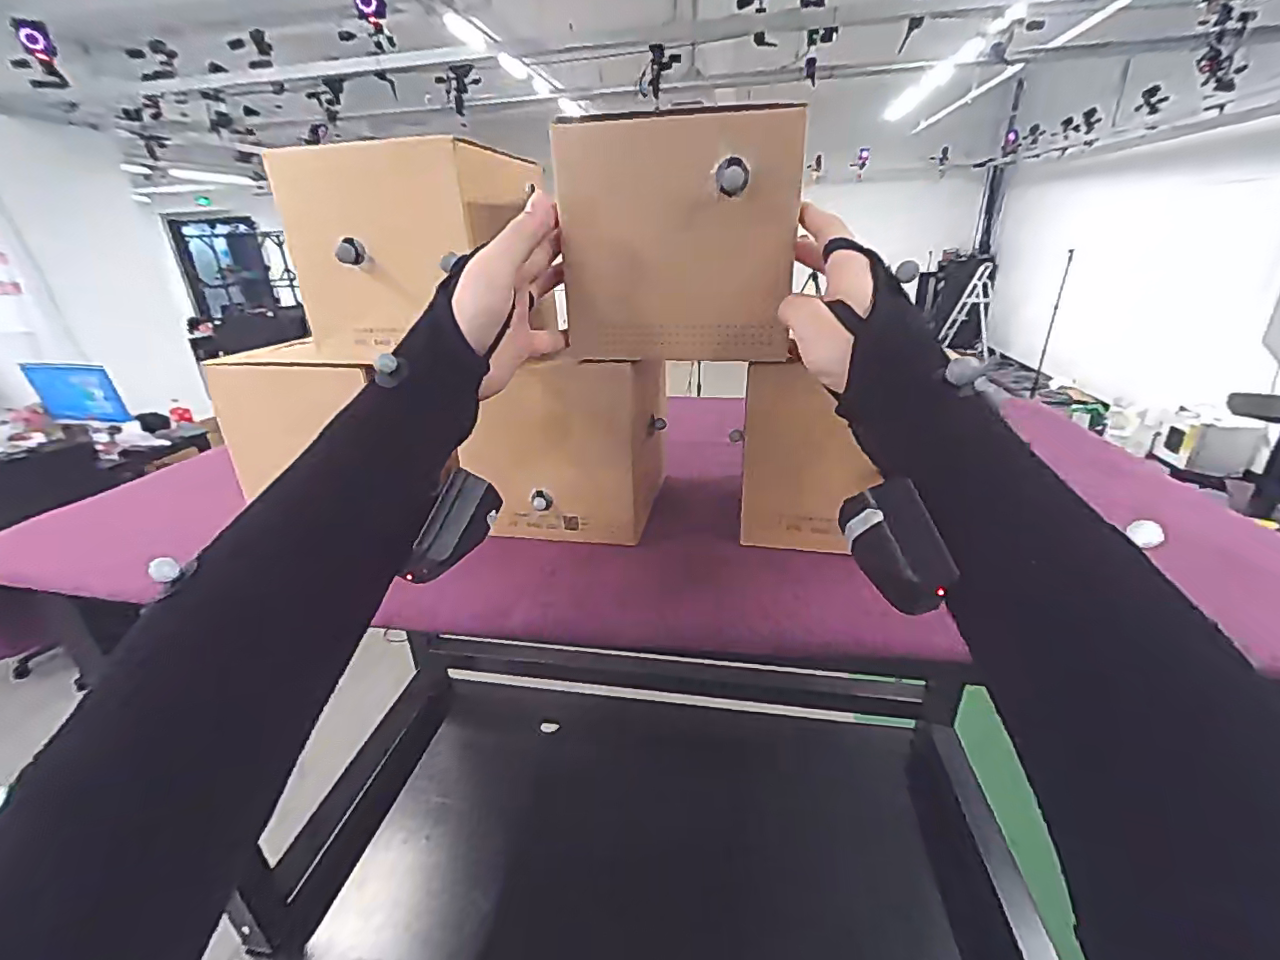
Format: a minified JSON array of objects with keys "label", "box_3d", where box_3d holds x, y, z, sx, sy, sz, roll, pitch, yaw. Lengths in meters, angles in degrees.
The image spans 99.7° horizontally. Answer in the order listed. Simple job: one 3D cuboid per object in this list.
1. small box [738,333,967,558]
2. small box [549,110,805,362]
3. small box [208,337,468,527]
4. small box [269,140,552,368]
[{"label":"small box","box_3d":[0.184,-0.042,0.513,0.168,0.176,0.179,4,23,14]},{"label":"small box","box_3d":[0.040,-0.202,0.465,0.179,0.176,0.168,3,27,12]},{"label":"small box","box_3d":[-0.312,-0.060,0.603,0.179,0.176,0.168,4,24,10]},{"label":"small box","box_3d":[-0.192,-0.204,0.513,0.168,0.176,0.179,2,23,12]}]
